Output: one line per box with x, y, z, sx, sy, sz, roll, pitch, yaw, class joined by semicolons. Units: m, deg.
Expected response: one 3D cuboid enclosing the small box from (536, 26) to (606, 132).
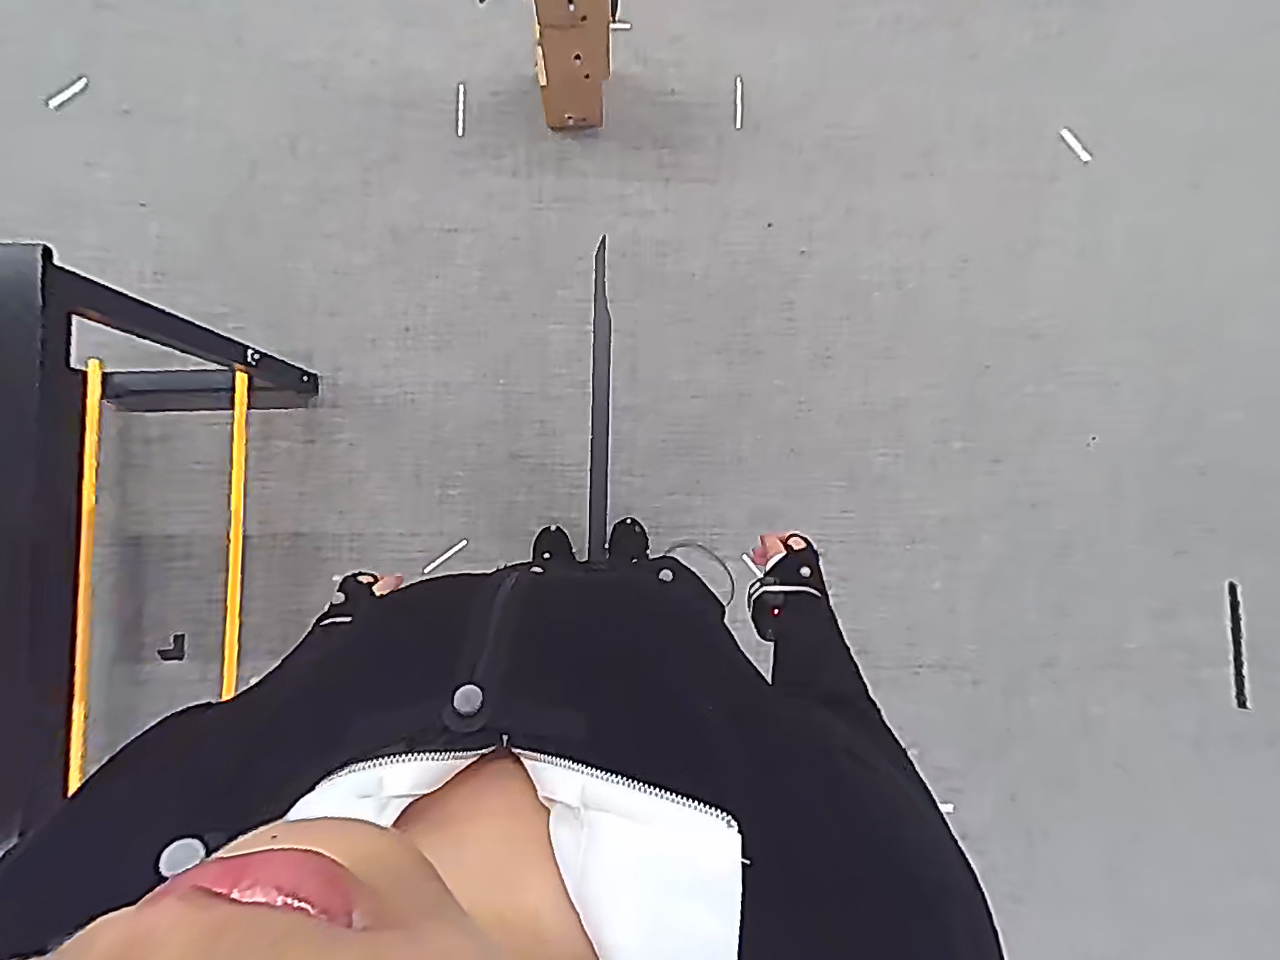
-0.184;-1.096;1.479;0.168;0.176;0.179;-6;89;-1;small box

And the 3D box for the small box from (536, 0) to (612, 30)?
-0.146;-1.116;1.152;0.168;0.176;0.179;-2;87;-1;small box

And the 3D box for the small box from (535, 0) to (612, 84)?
-0.160;-1.103;1.316;0.168;0.176;0.179;-7;88;-2;small box
